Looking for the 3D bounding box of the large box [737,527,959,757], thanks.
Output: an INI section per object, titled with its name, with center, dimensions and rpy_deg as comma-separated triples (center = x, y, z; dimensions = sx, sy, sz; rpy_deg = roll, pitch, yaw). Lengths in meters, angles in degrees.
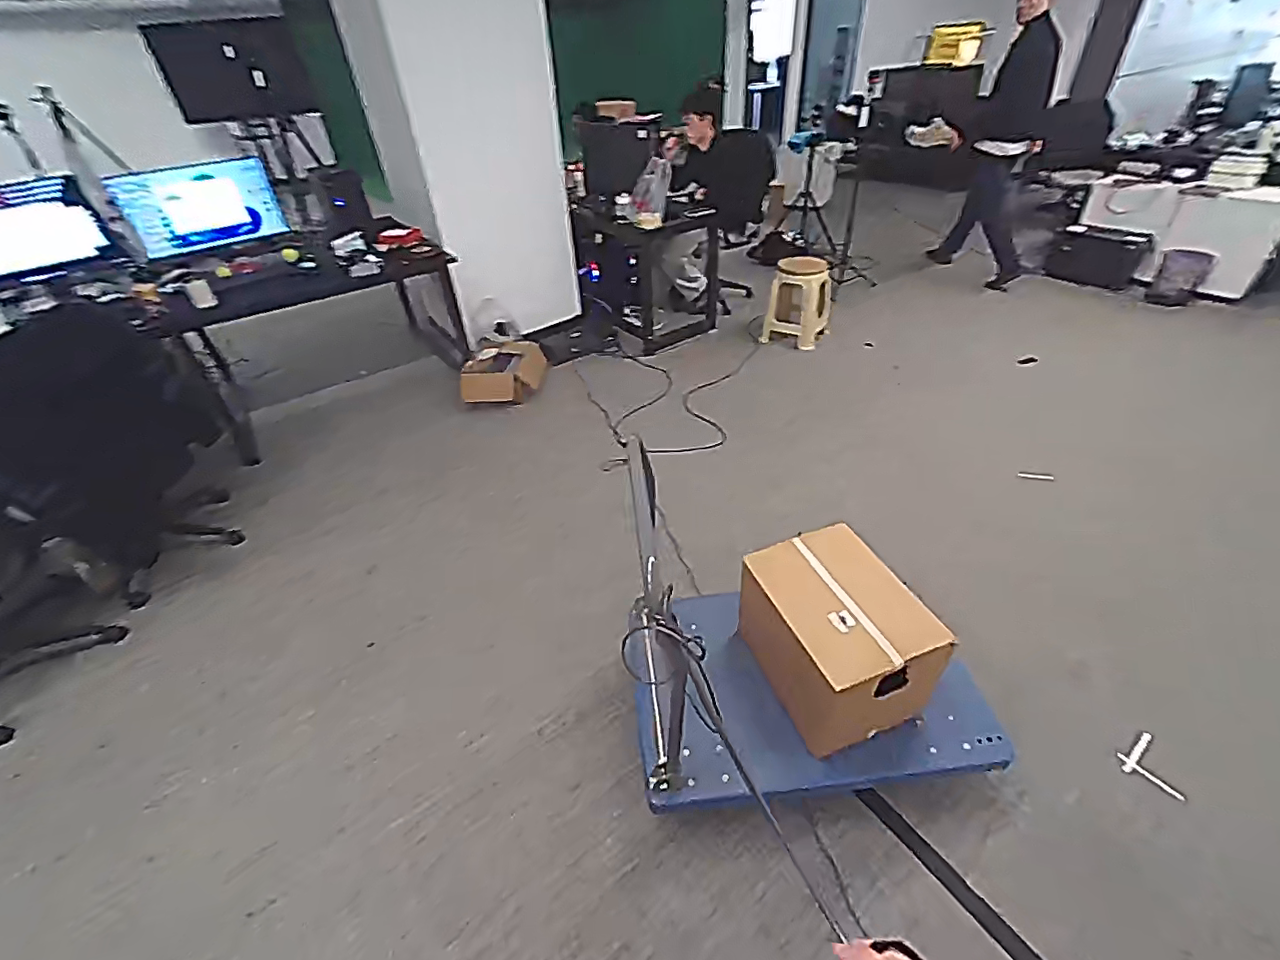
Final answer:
[large box]
center = 0.480, 0.391, 1.358
dimensions = 0.320, 0.320, 0.408
rpy_deg = -16, 42, -13
